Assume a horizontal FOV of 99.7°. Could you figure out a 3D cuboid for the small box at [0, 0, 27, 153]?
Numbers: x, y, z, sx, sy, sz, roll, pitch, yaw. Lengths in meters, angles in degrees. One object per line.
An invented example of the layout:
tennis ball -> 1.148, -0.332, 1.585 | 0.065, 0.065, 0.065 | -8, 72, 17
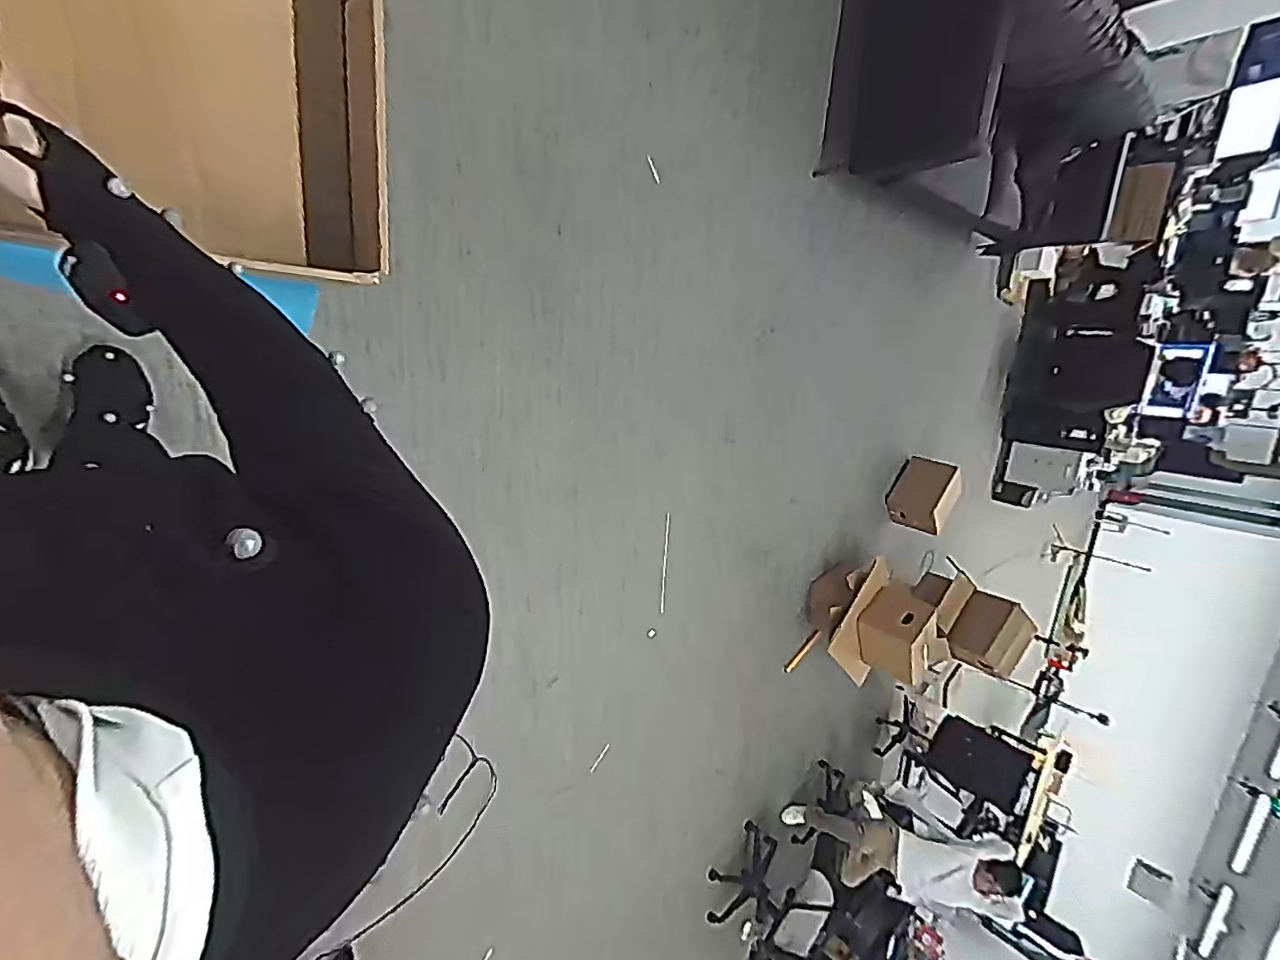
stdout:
small box -> -0.665, -0.406, 0.454 | 0.179, 0.176, 0.168 | -10, 98, -39
